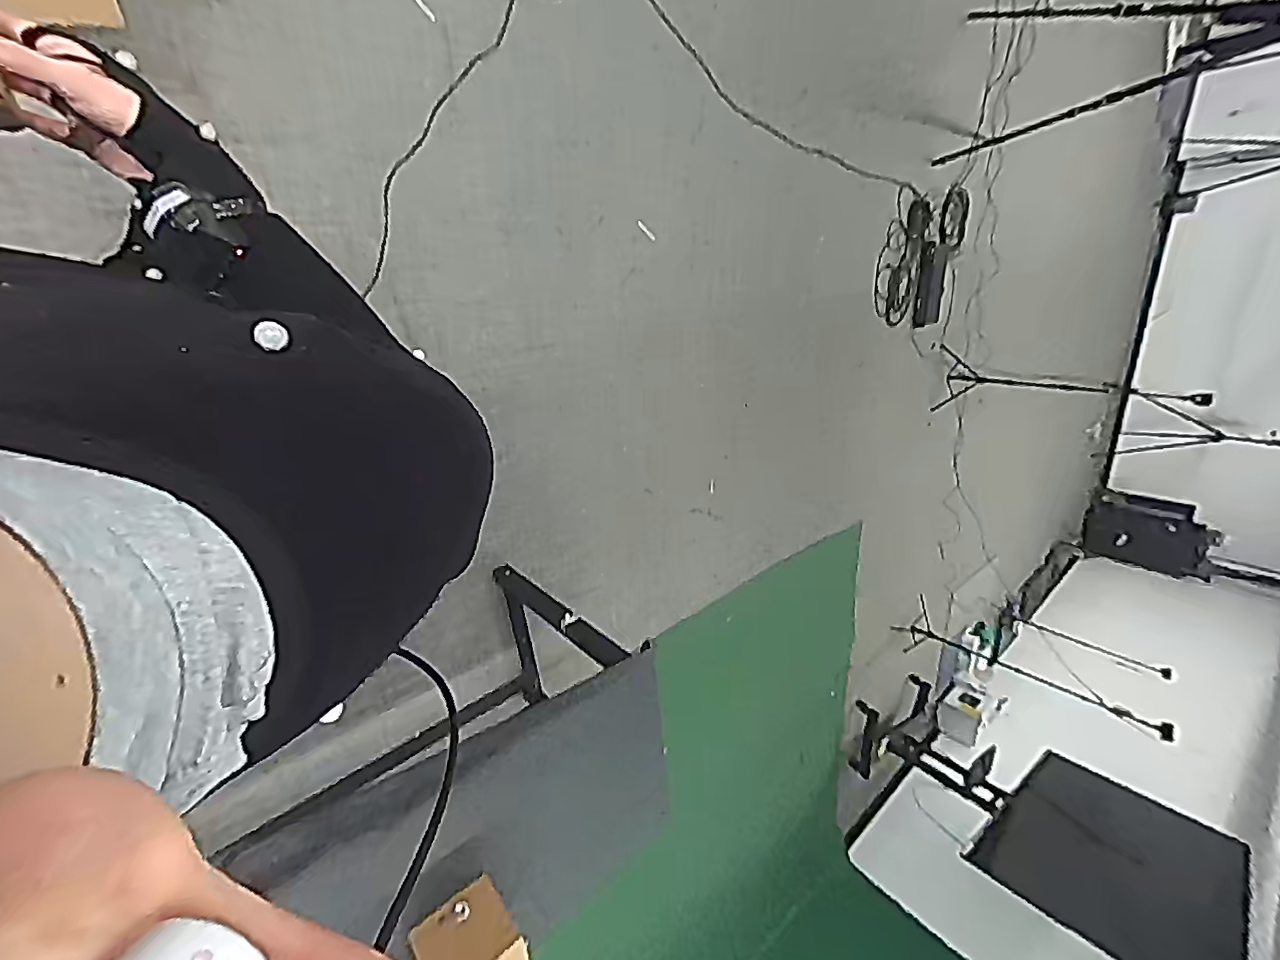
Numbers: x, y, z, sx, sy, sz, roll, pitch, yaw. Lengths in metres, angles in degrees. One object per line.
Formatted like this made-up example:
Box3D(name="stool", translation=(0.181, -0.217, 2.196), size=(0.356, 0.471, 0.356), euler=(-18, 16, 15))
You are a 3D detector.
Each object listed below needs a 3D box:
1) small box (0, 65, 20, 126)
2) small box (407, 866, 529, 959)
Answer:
Box3D(name="small box", translation=(-0.519, -0.314, 0.305), size=(0.168, 0.176, 0.179), euler=(-24, 125, -33))
Box3D(name="small box", translation=(-0.337, 0.931, 1.075), size=(0.168, 0.176, 0.179), euler=(-24, 118, -36))
